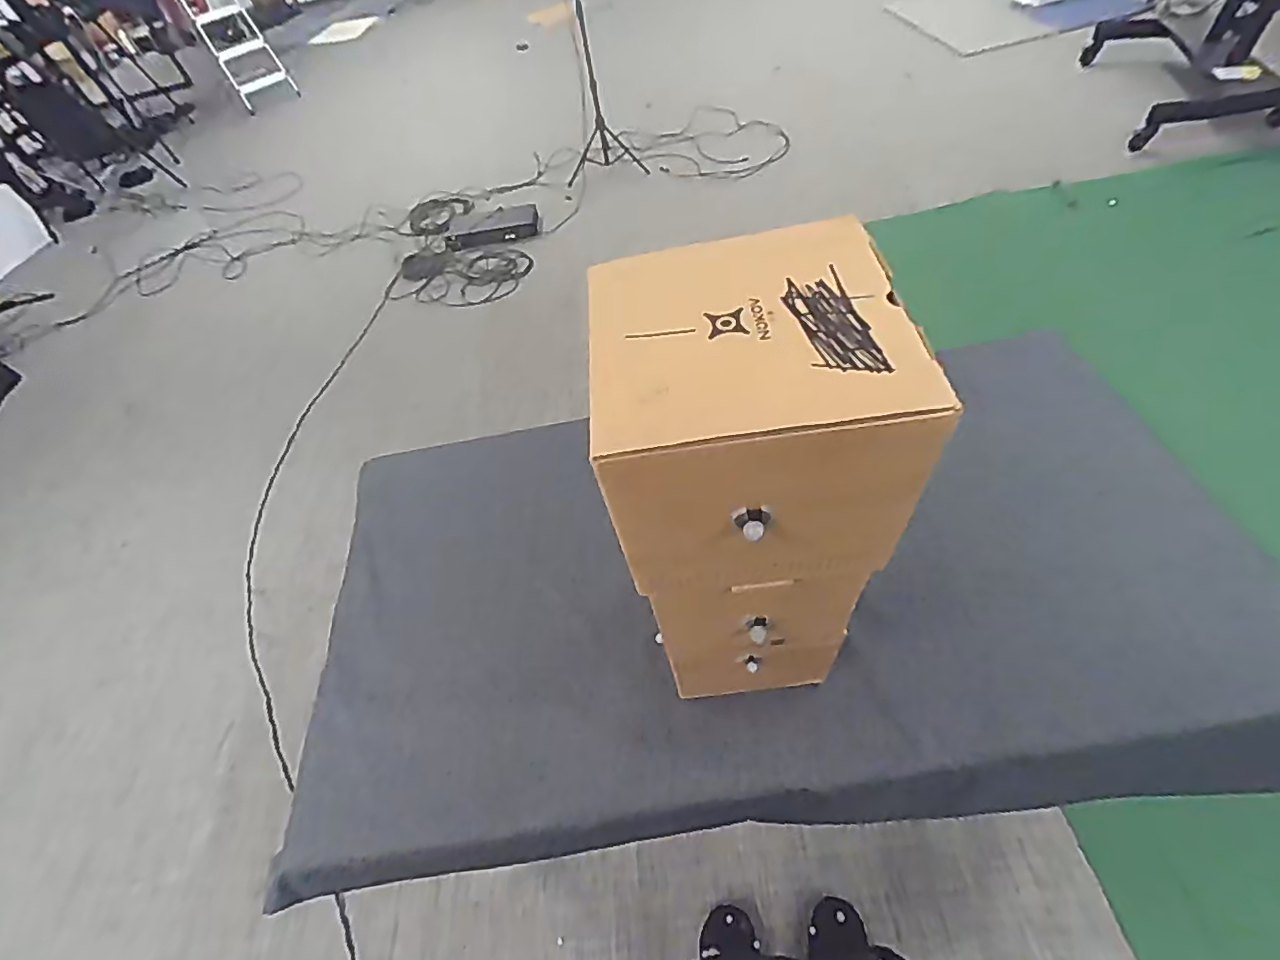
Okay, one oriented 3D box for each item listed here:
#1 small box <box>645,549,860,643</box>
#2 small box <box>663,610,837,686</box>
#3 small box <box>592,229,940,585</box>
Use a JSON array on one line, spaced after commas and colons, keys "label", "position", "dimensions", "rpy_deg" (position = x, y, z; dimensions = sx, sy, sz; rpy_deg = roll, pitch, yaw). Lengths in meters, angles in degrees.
[{"label": "small box", "position": [0.091, 0.046, 0.517], "dimensions": [0.168, 0.176, 0.179], "rpy_deg": [-8, 55, 4]}, {"label": "small box", "position": [0.117, 0.138, 0.651], "dimensions": [0.179, 0.176, 0.168], "rpy_deg": [-8, 54, 3]}, {"label": "small box", "position": [0.069, -0.040, 0.378], "dimensions": [0.179, 0.176, 0.168], "rpy_deg": [-8, 54, 5]}]
